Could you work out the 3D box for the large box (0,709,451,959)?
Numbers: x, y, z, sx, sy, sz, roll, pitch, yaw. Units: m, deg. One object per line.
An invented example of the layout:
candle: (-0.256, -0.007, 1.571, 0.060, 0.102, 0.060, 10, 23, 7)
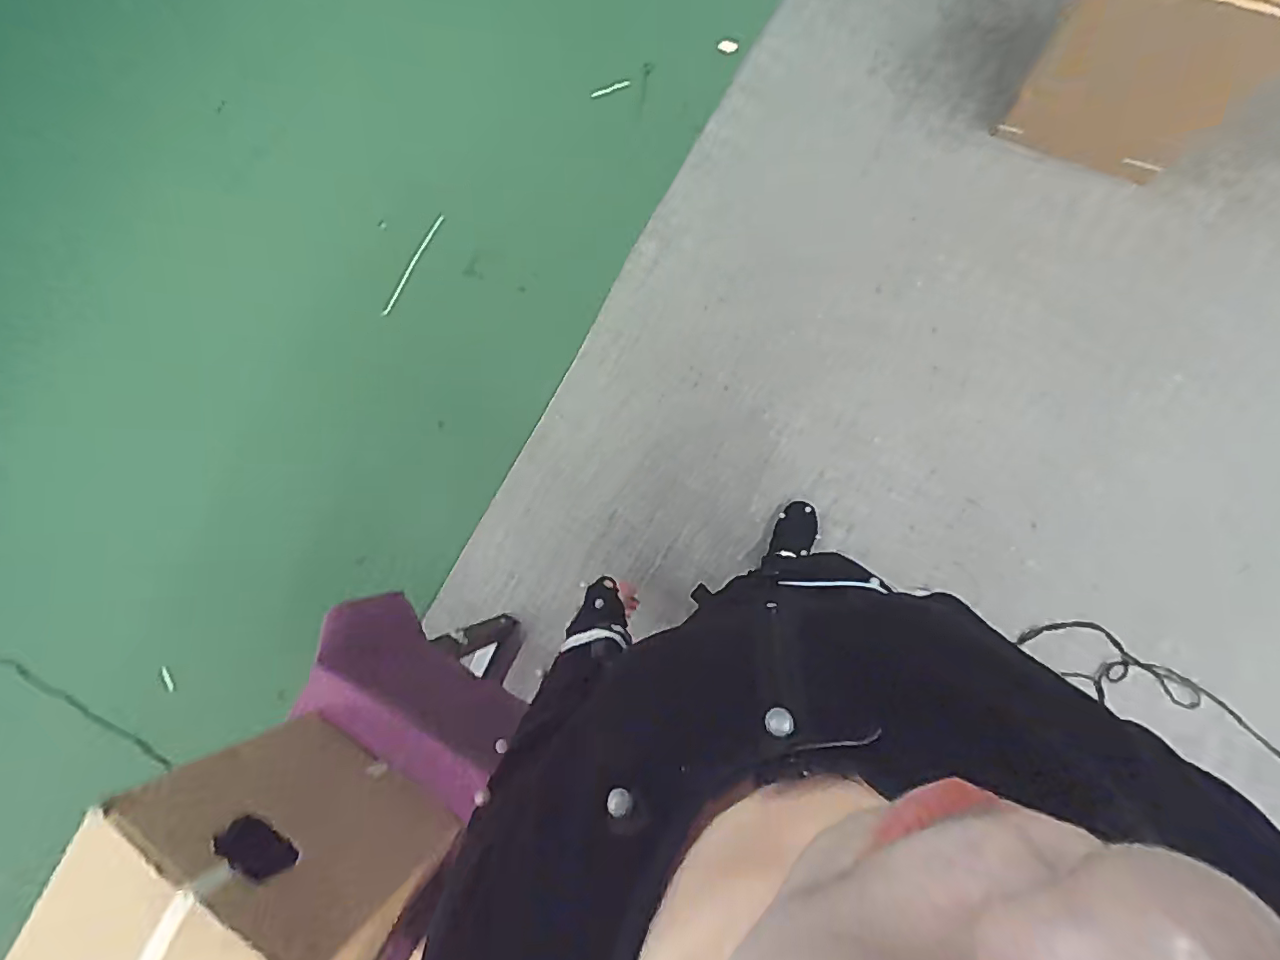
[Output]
large box: (-0.527, 0.592, 0.696, 0.320, 0.320, 0.408, 29, 89, 11)
